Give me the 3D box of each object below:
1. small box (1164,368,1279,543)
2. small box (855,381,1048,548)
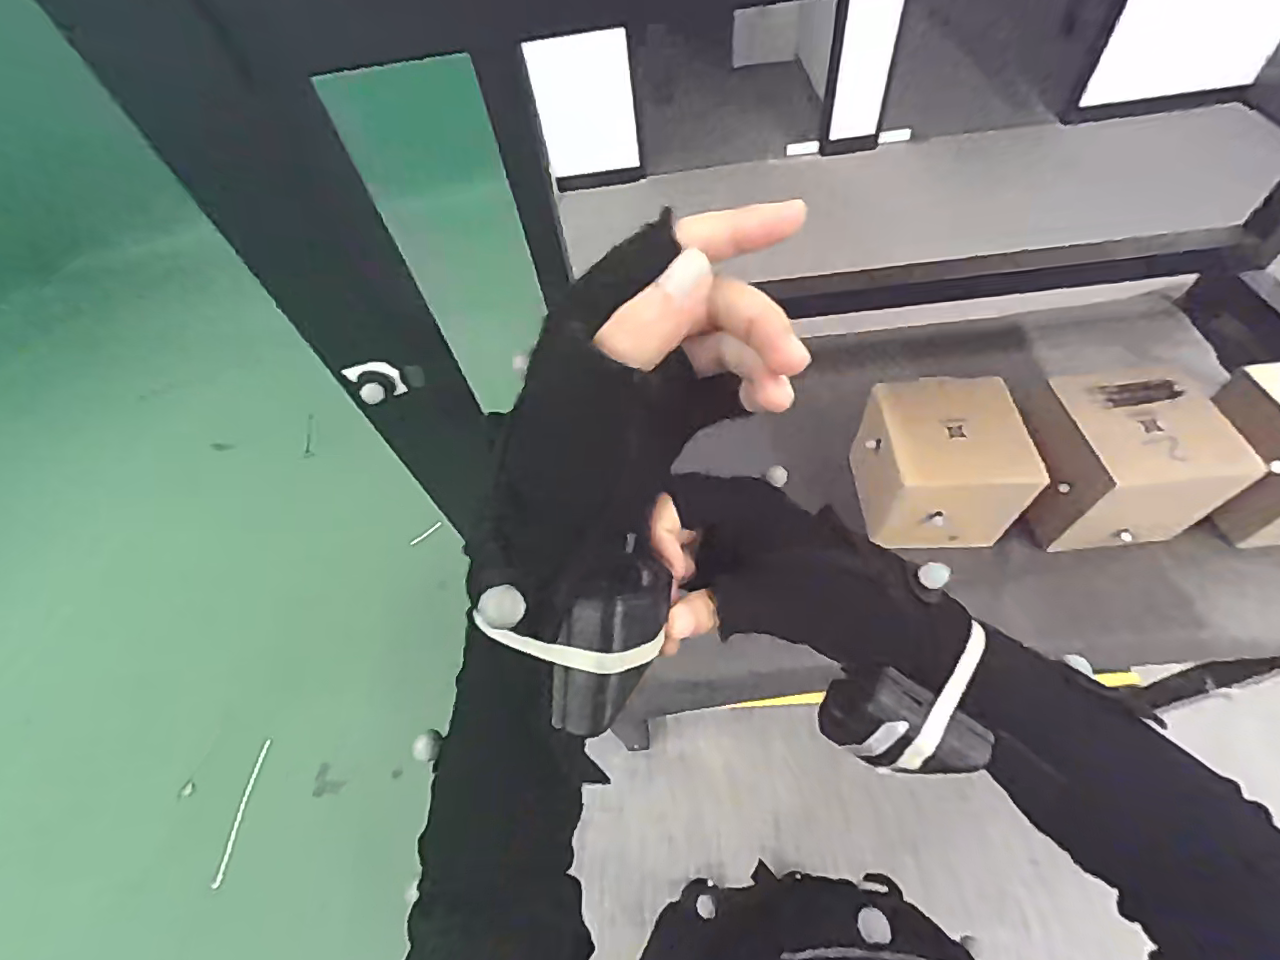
[{"bbox_3d":[0.857,-0.030,0.696,0.168,0.176,0.179,-7,54,3],"label":"small box"},{"bbox_3d":[0.413,-0.014,0.754,0.168,0.176,0.179,-2,55,7],"label":"small box"}]
